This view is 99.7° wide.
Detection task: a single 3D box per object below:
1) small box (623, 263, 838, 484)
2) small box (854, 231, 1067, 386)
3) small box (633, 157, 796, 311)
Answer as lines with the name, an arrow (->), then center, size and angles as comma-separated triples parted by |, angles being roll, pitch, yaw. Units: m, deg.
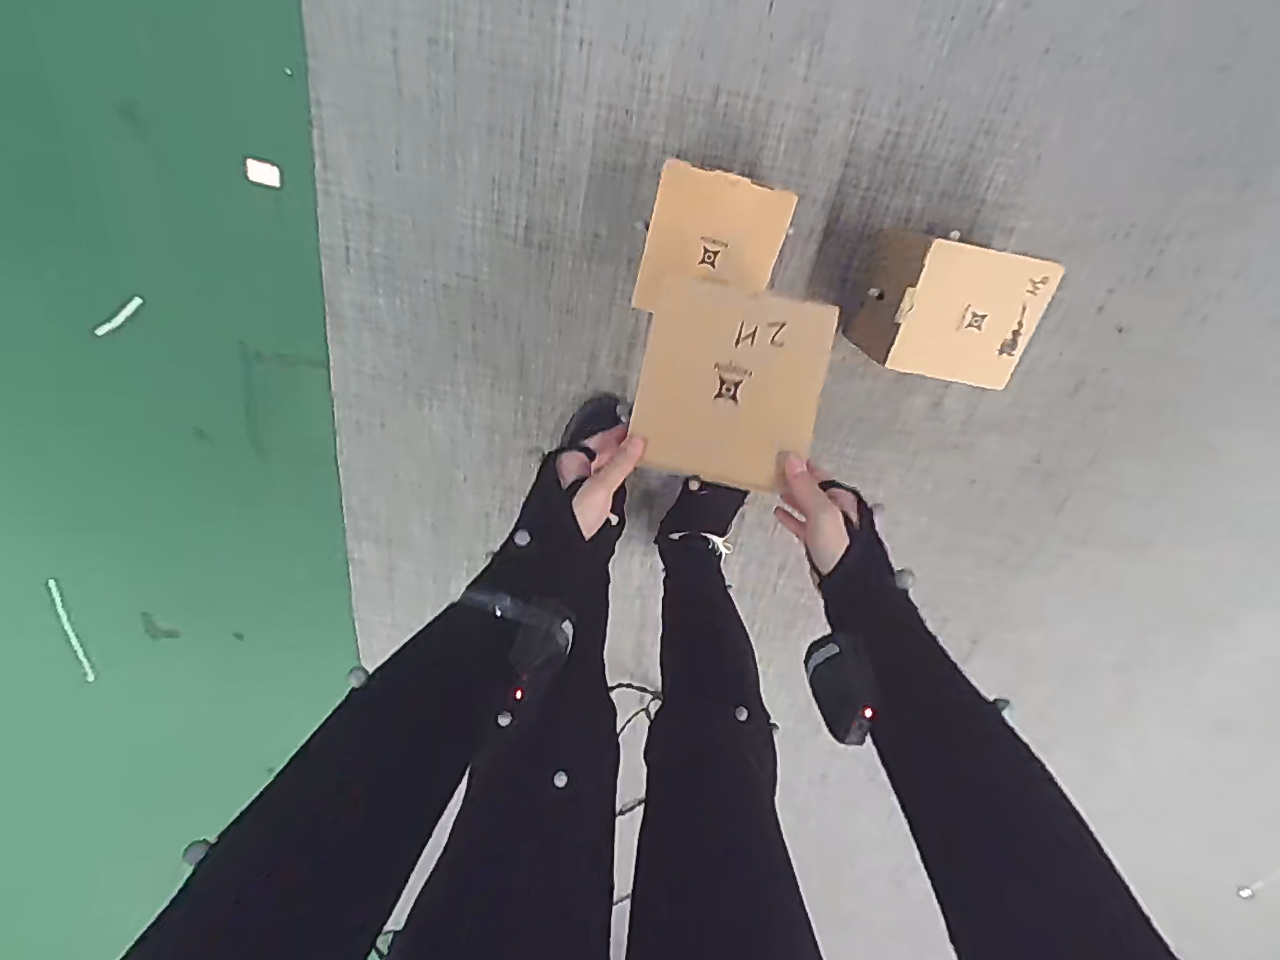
small box -> 0.086, -0.098, 0.575 | 0.168, 0.176, 0.179 | 13, 90, 1
small box -> 0.429, -0.249, 0.765 | 0.179, 0.176, 0.168 | 10, 118, -1
small box -> 0.094, -0.321, 0.745 | 0.168, 0.176, 0.179 | 13, 117, -4
